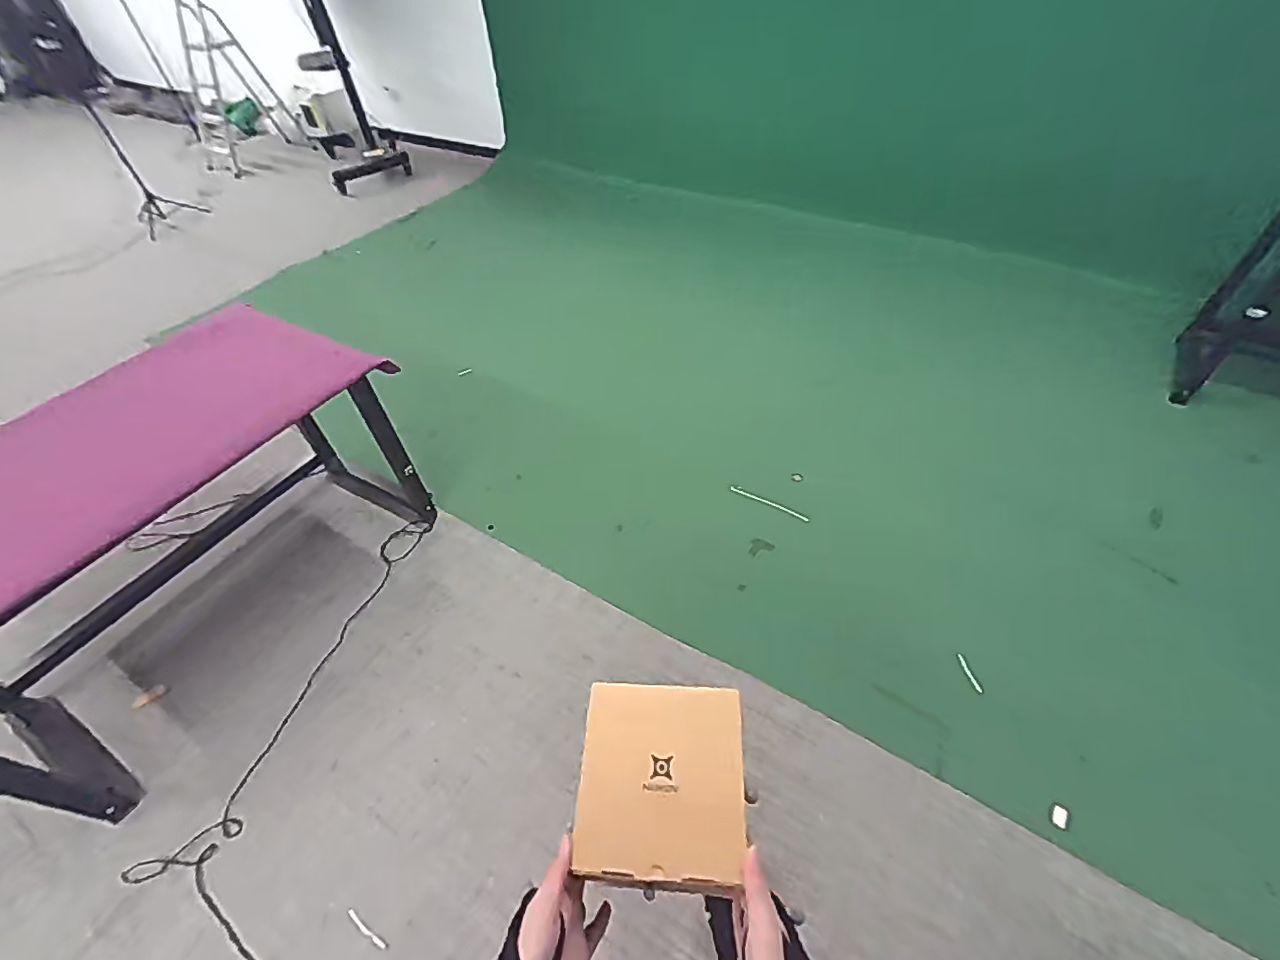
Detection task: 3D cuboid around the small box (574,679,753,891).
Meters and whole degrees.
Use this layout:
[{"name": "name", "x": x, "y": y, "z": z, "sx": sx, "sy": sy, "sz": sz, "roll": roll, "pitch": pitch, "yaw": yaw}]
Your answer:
[{"name": "small box", "x": 0.029, "y": 0.339, "z": 0.599, "sx": 0.168, "sy": 0.176, "sz": 0.179, "roll": 1, "pitch": 52, "yaw": 4}]
